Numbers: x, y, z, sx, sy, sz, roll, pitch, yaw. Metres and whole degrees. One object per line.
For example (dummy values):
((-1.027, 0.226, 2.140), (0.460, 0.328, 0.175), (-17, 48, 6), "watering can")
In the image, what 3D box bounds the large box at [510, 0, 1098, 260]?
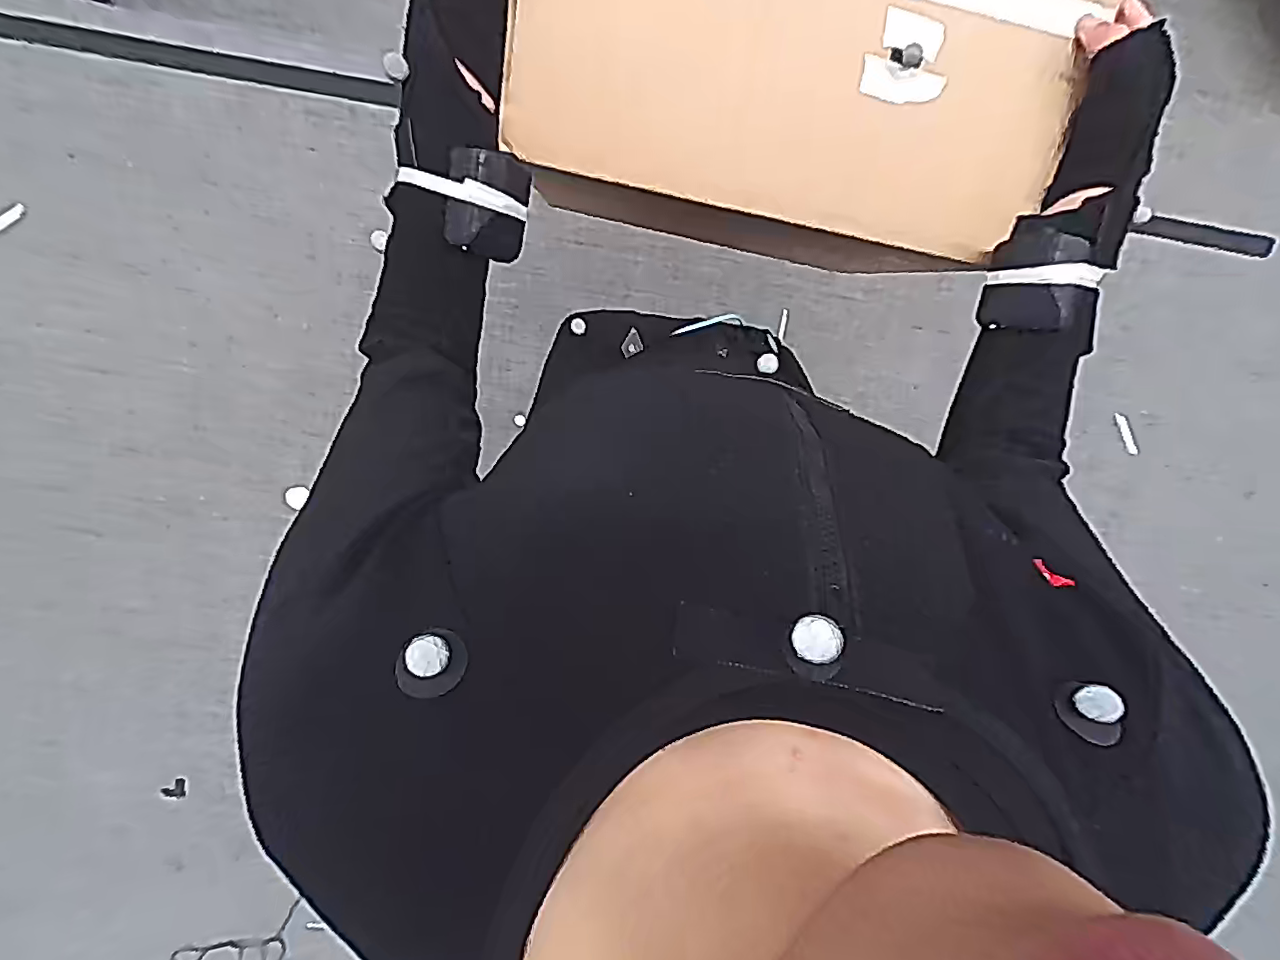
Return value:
((0.113, -0.405, 0.501), (0.408, 0.320, 0.320), (9, 111, -8), "large box")
